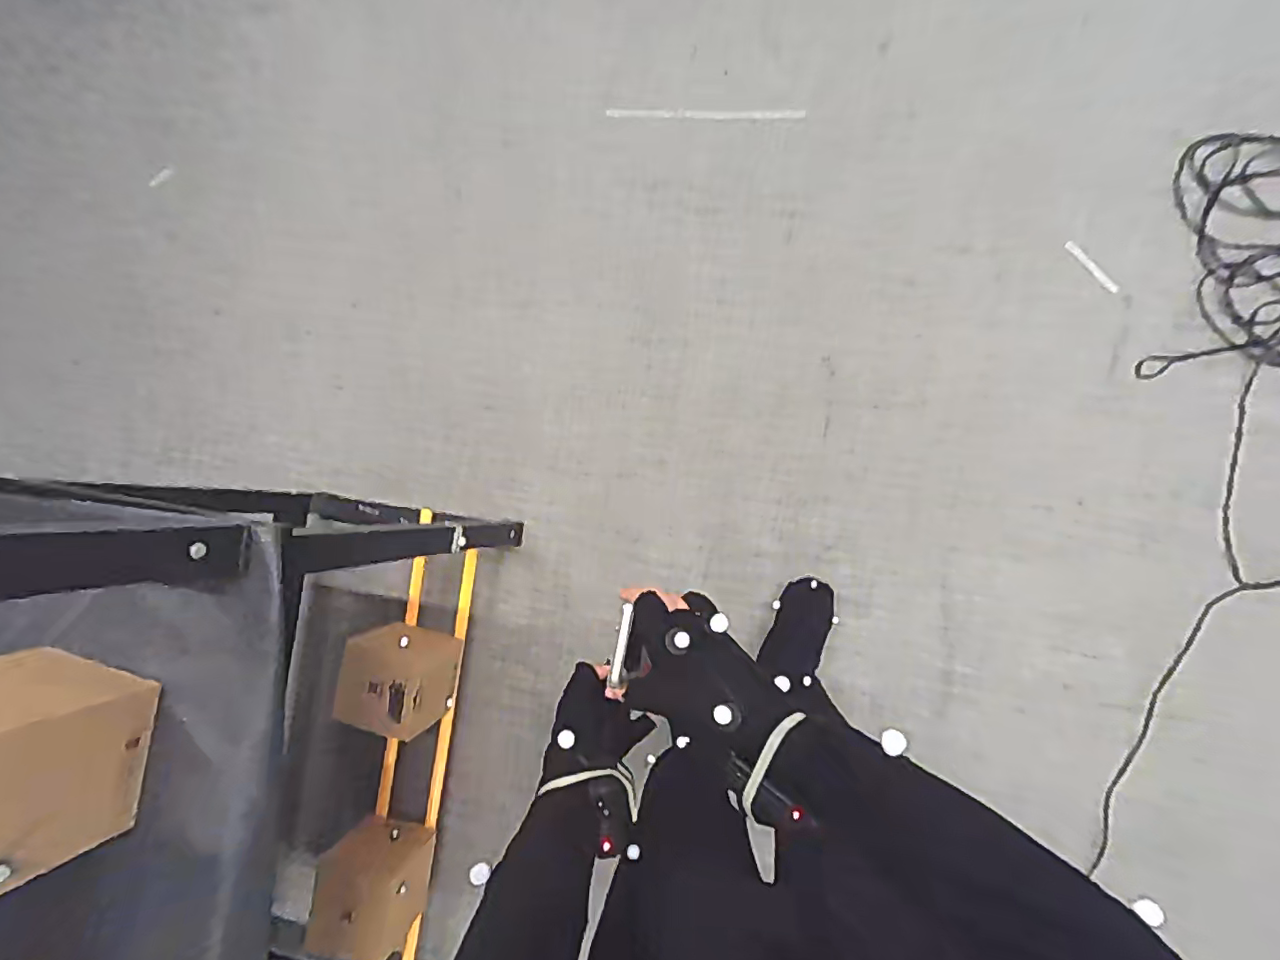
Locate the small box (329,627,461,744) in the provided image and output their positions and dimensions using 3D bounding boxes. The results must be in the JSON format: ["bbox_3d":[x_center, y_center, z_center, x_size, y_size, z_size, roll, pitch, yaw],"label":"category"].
[{"bbox_3d":[-0.504,0.420,1.136,0.179,0.176,0.168,11,88,11],"label":"small box"}]
